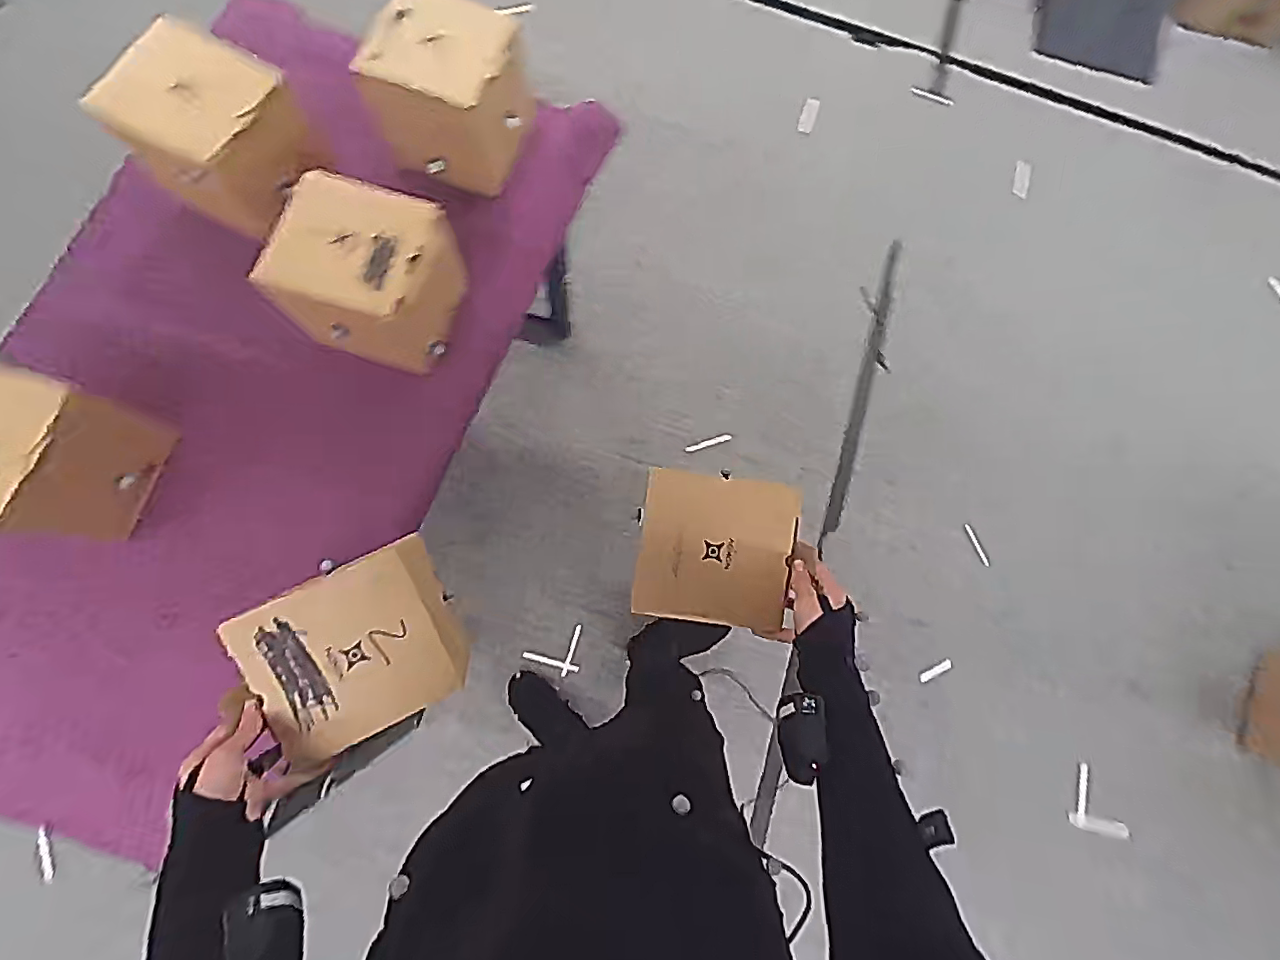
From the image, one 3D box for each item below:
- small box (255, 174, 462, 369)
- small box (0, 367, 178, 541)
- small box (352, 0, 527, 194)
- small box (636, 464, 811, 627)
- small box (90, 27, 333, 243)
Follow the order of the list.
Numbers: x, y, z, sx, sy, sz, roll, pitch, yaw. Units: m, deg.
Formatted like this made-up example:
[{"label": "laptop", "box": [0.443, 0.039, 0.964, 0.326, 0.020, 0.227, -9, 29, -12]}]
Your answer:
[{"label": "small box", "box": [-0.368, -0.274, 0.750, 0.179, 0.176, 0.168, 16, 76, -1]}, {"label": "small box", "box": [-0.738, -0.030, 0.658, 0.179, 0.176, 0.168, 15, 76, -3]}, {"label": "small box", "box": [-0.288, -0.577, 0.826, 0.179, 0.176, 0.168, 20, 76, 1]}, {"label": "small box", "box": [0.093, 0.071, 0.689, 0.179, 0.176, 0.168, 9, 91, -1]}, {"label": "small box", "box": [-0.594, -0.481, 0.779, 0.179, 0.176, 0.168, 25, 76, -1]}]
